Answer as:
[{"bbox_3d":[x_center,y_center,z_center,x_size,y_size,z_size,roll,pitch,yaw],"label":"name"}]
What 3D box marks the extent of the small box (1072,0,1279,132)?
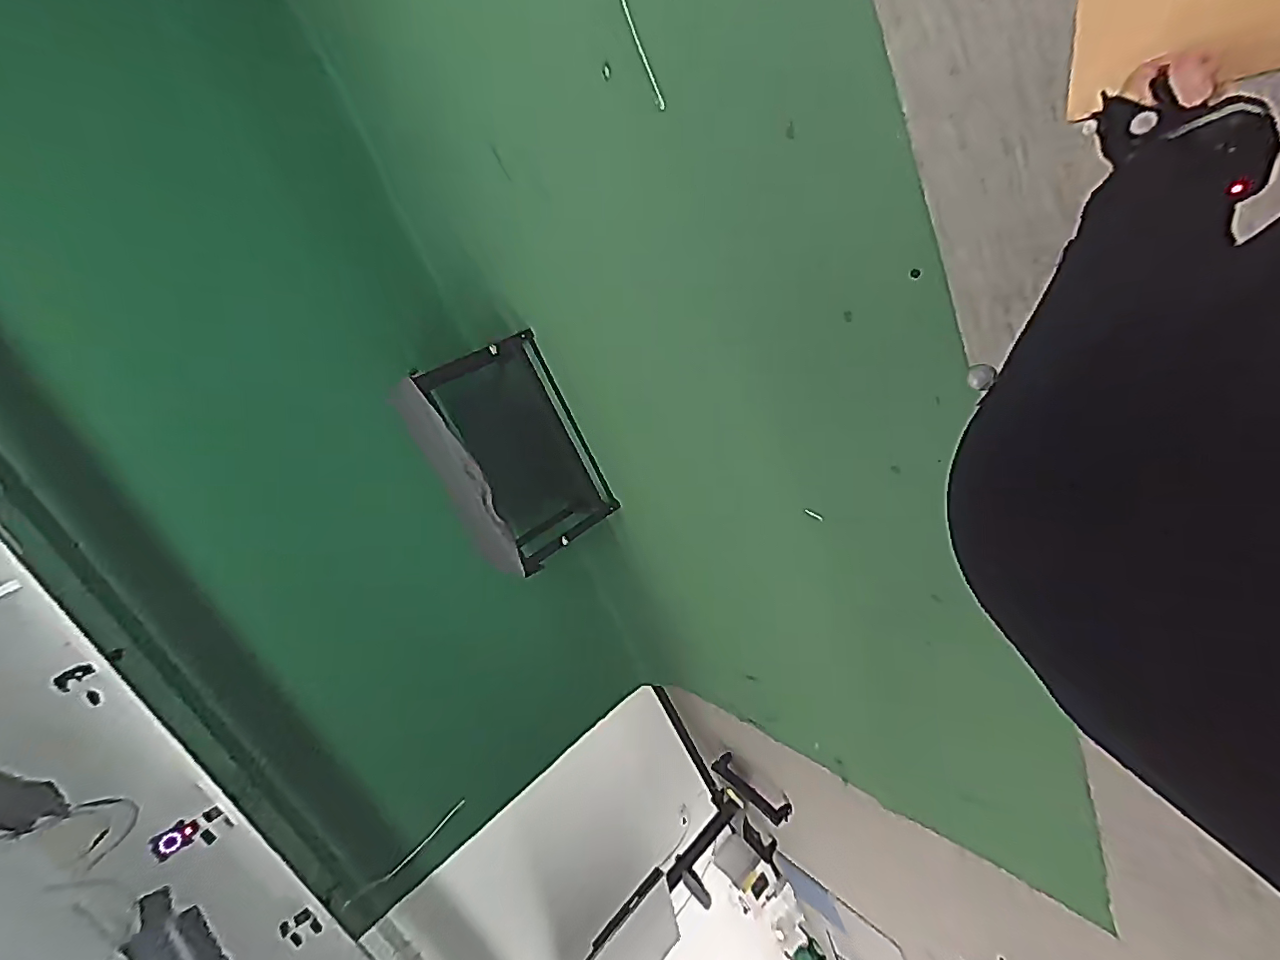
[{"bbox_3d":[0.523,-0.449,0.495,0.168,0.179,0.176,14,128,48],"label":"small box"}]
